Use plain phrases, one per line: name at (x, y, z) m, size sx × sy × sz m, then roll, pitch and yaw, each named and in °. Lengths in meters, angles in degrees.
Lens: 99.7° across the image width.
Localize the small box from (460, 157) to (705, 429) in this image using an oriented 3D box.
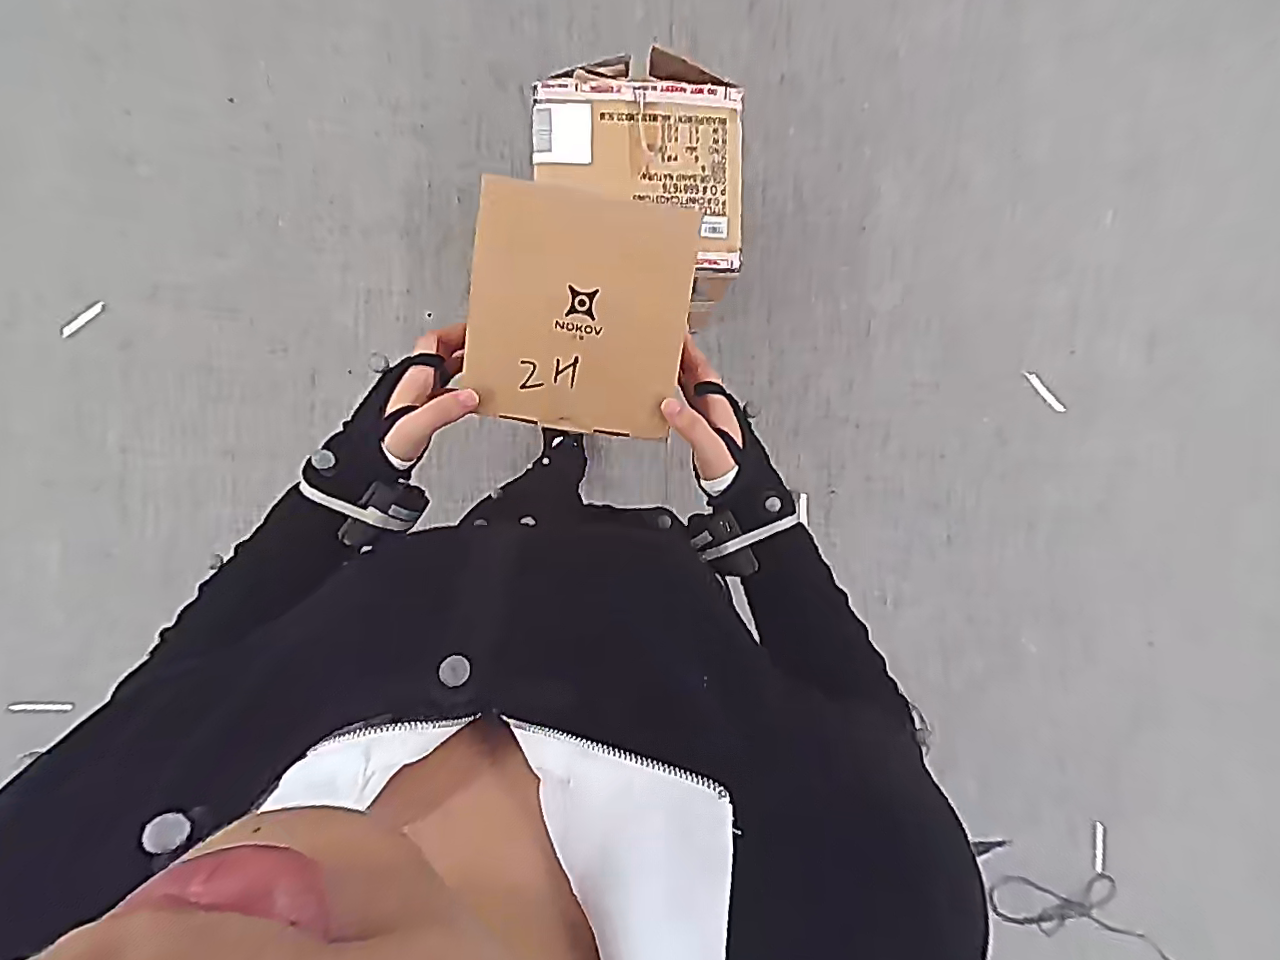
small box at (-0.049, -0.150, 0.486) m, size 0.168 × 0.176 × 0.179 m, roll 9°, pitch 100°, yaw -4°
